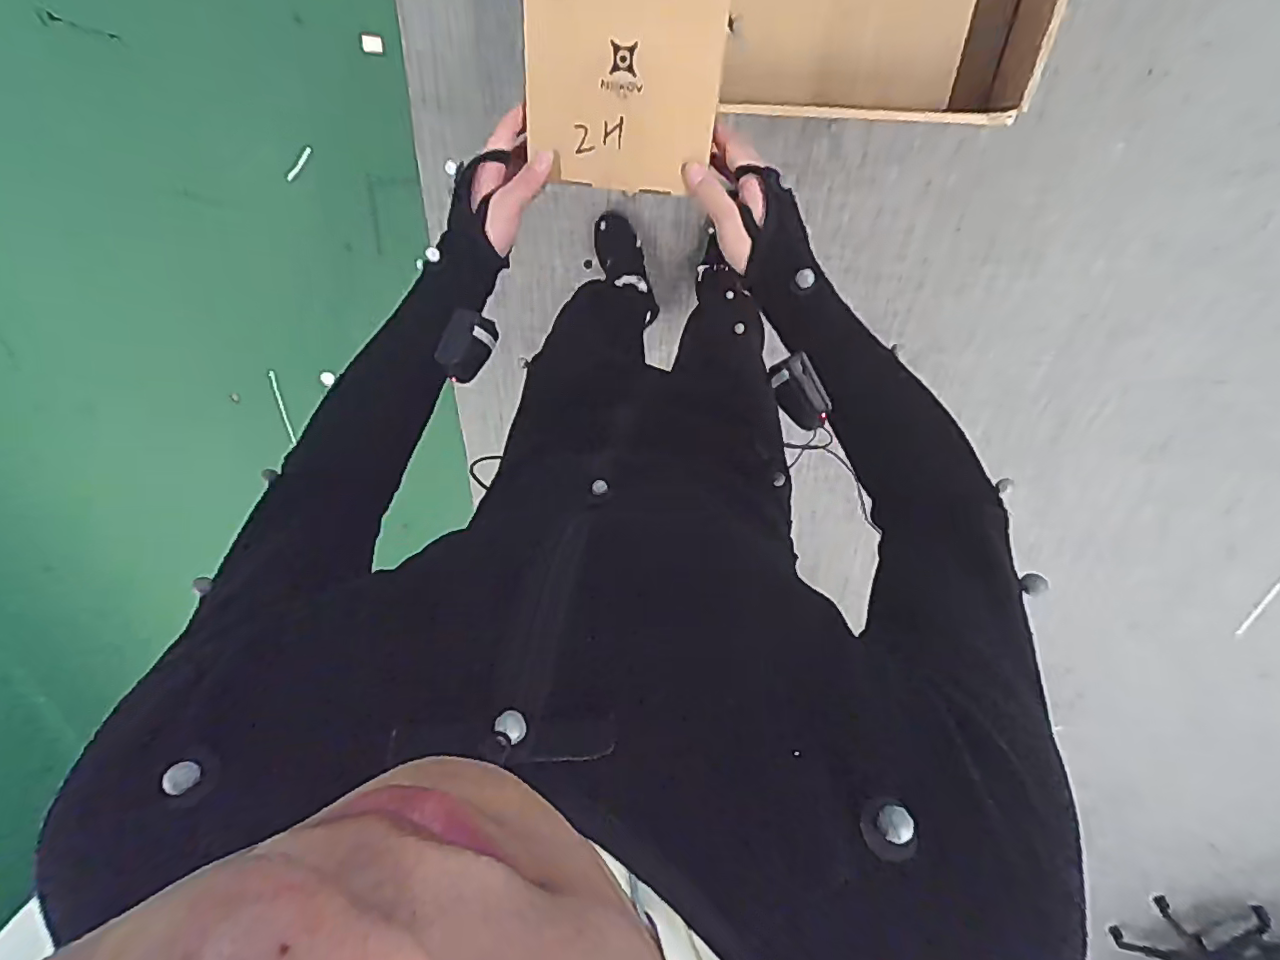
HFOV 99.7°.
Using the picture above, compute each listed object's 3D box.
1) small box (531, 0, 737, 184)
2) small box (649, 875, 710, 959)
[{"bbox_3d":[-0.001,-0.394,0.513,0.168,0.176,0.179,8,123,3],"label":"small box"},{"bbox_3d":[0.121,1.334,1.635,0.168,0.176,0.179,6,123,7],"label":"small box"}]
